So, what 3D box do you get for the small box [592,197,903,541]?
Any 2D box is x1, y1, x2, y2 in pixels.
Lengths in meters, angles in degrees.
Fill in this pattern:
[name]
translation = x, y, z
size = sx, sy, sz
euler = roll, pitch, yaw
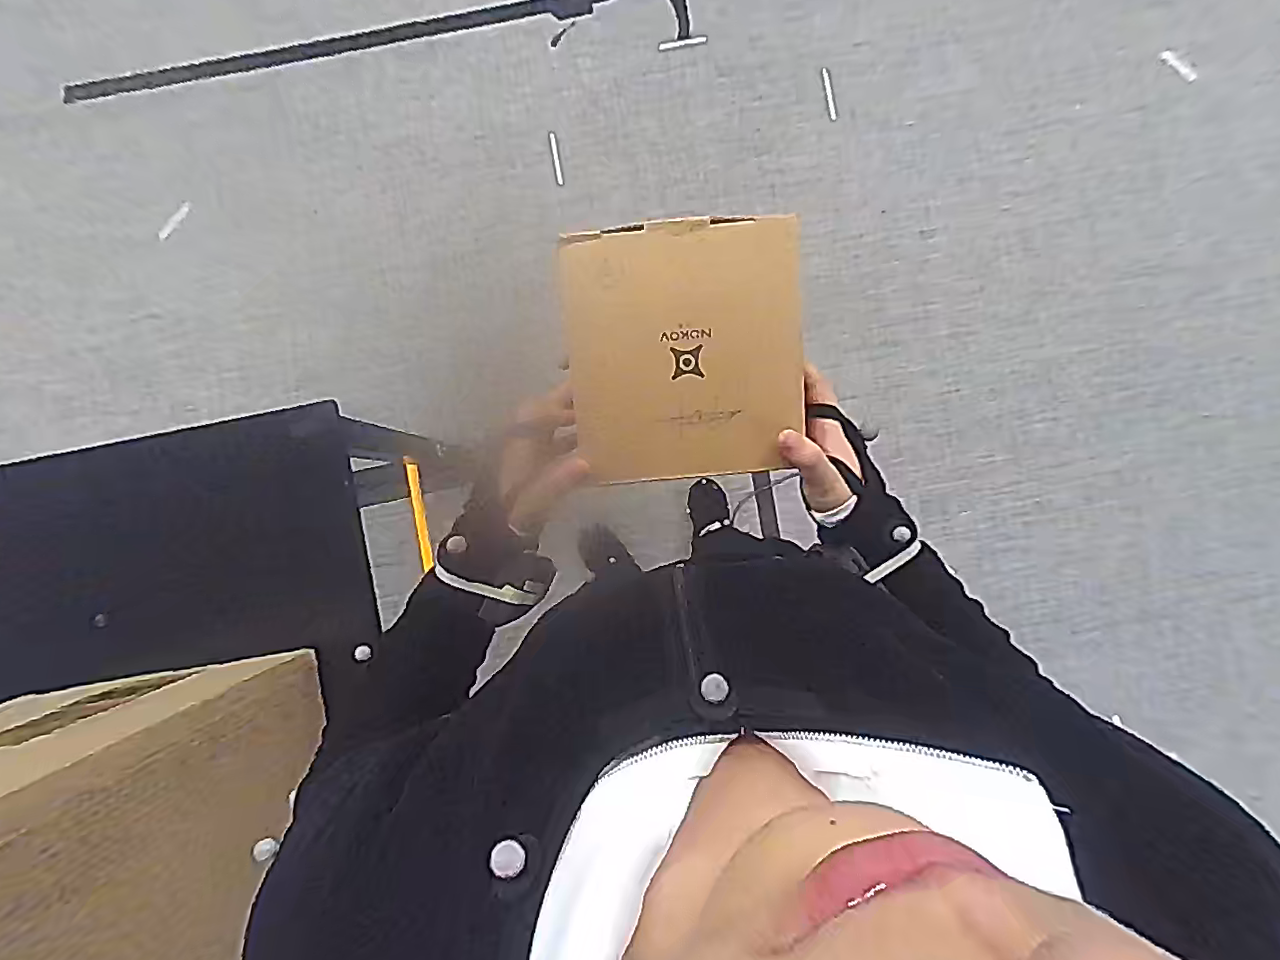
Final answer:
[small box]
translation = 0.058, -0.072, 0.373
size = 0.168, 0.176, 0.179
euler = -6, 103, 0
